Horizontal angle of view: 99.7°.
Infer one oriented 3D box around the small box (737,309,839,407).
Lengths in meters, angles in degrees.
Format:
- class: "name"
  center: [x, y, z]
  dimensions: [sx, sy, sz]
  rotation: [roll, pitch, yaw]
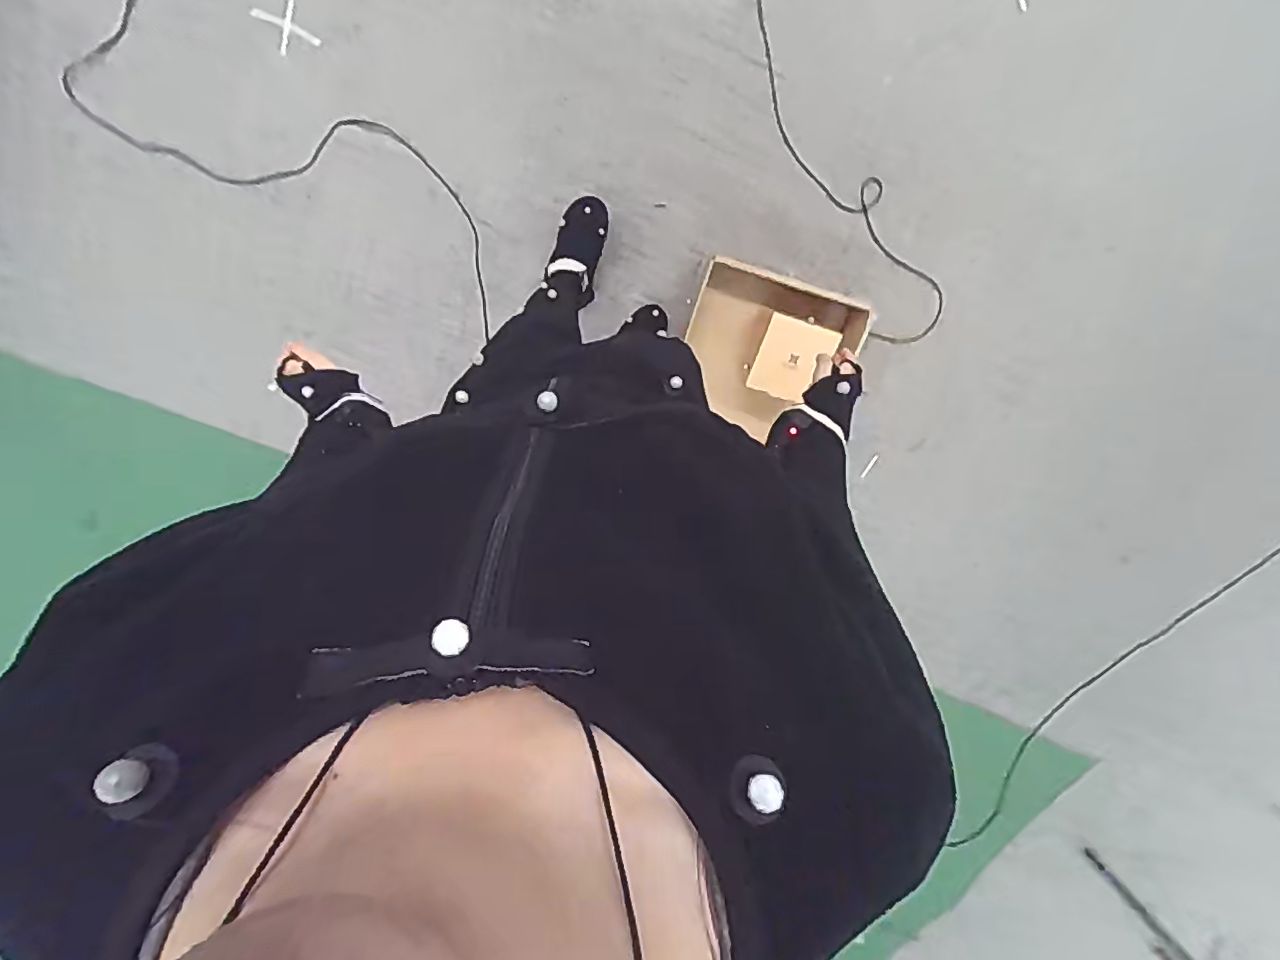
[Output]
- class: "small box"
  center: [0.345, -0.300, 1.299]
  dimensions: [0.168, 0.176, 0.179]
  rotation: [17, 113, -5]
